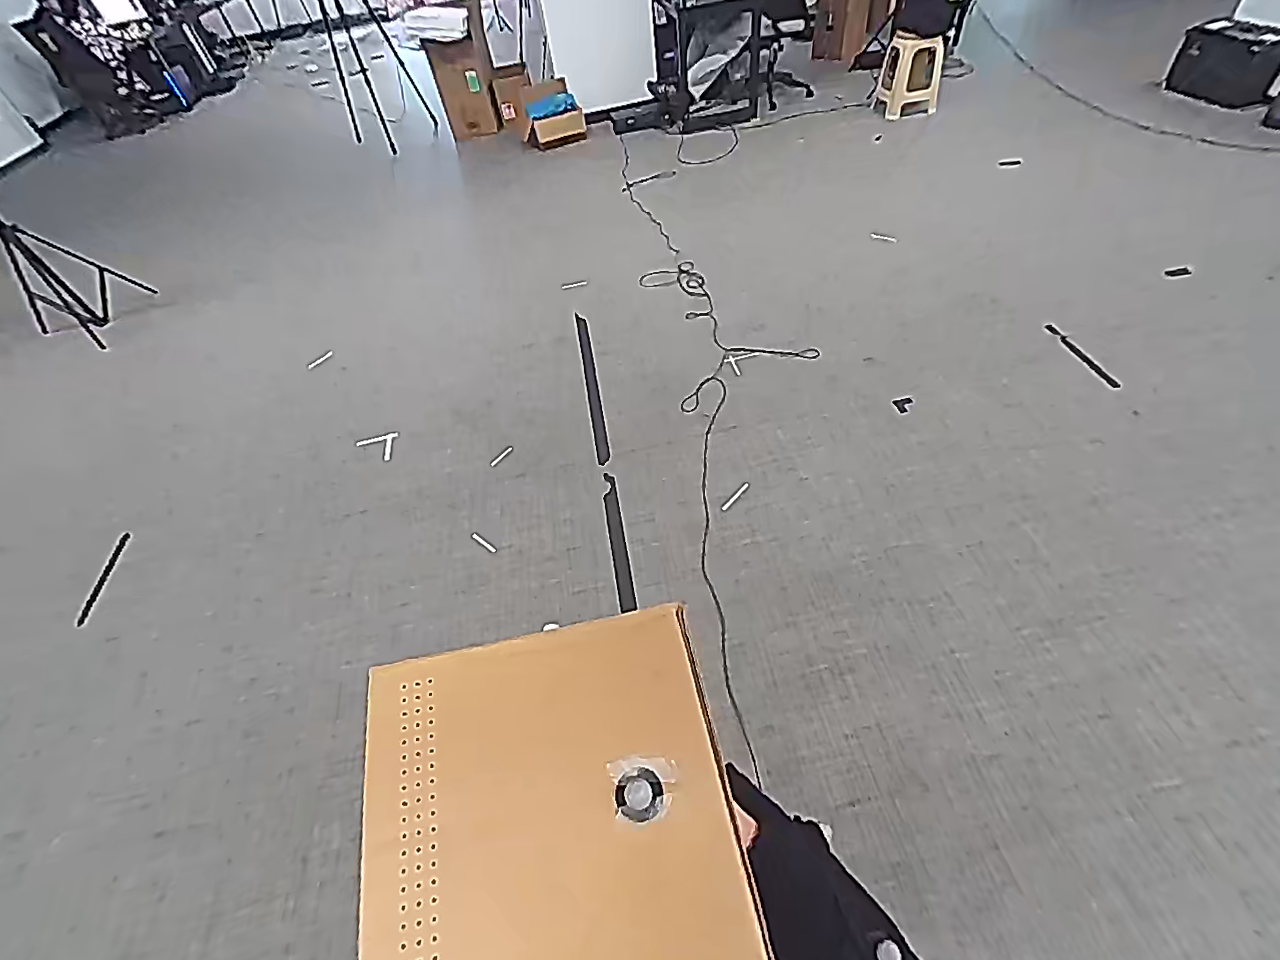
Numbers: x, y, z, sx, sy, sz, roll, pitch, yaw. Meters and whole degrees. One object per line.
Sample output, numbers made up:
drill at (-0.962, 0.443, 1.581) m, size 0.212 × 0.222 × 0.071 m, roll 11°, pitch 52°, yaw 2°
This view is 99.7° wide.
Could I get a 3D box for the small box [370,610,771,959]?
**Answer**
small box at (-0.039, 0.200, 0.320) m, size 0.176 × 0.168 × 0.179 m, roll -12°, pitch 60°, yaw -3°
